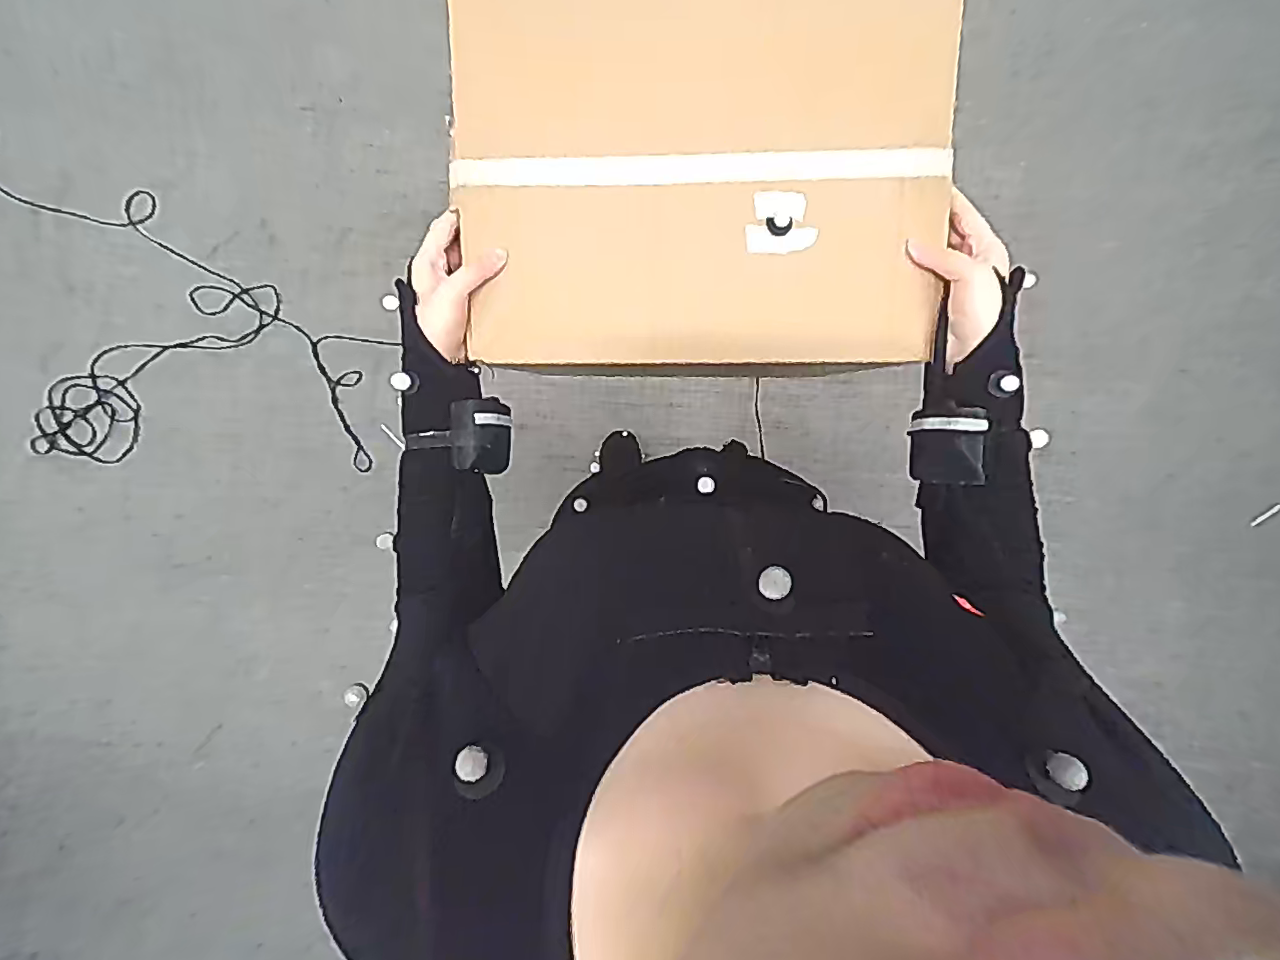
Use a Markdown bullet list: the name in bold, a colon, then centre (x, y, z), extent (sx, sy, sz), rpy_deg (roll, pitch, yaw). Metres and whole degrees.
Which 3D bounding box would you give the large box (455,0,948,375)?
- **large box**: centre (0.051, -0.285, 0.600), extent (0.408, 0.320, 0.320), rpy_deg (0, 100, 1)
